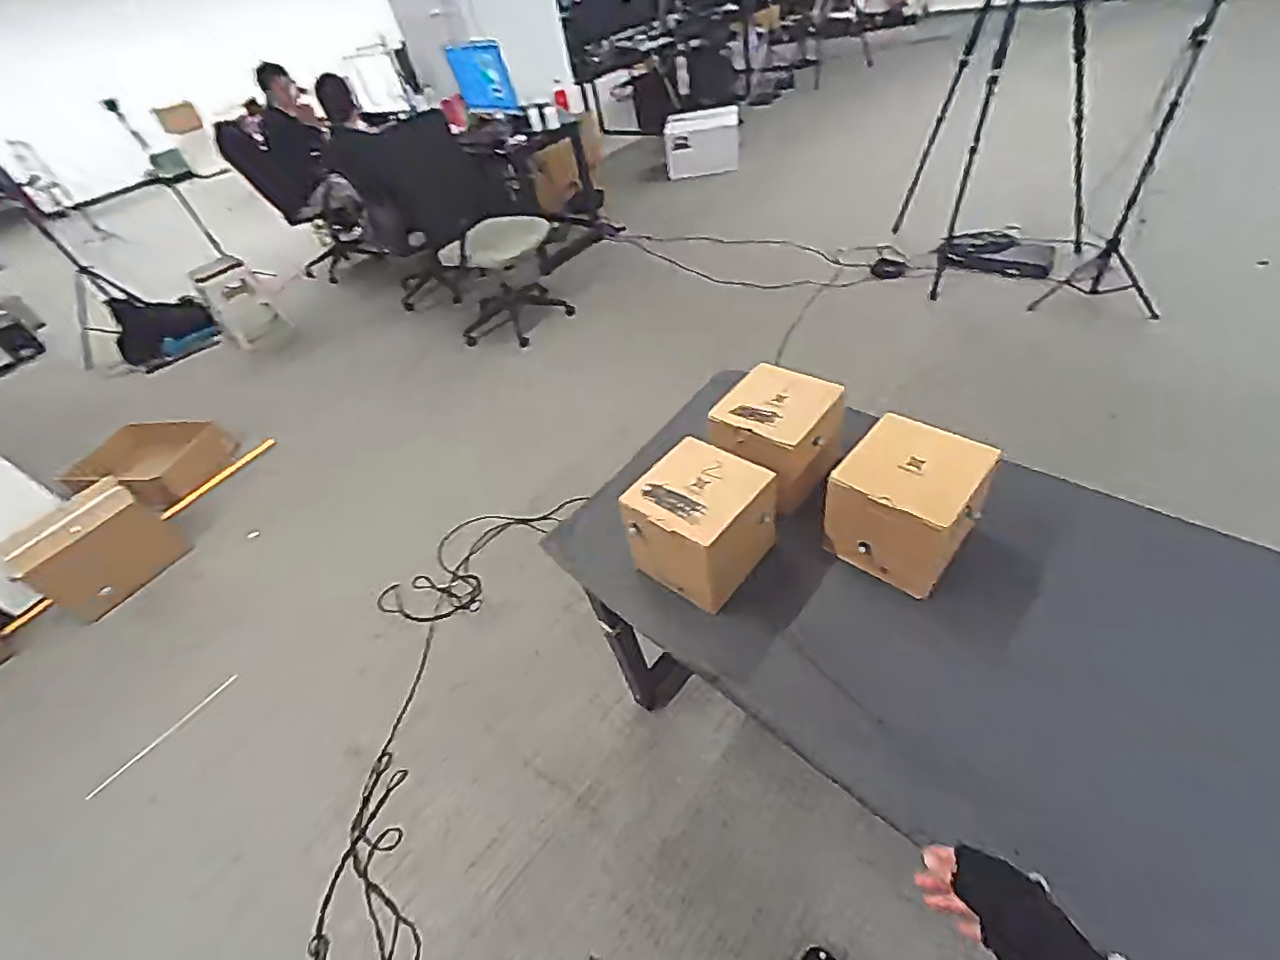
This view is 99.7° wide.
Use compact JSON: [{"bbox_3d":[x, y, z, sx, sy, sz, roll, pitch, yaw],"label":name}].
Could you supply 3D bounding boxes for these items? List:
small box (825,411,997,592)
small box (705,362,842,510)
[{"bbox_3d":[0.396,0.032,0.820,0.168,0.176,0.179,30,60,35],"label":"small box"},{"bbox_3d":[0.238,-0.078,0.963,0.168,0.176,0.179,27,57,33],"label":"small box"}]
